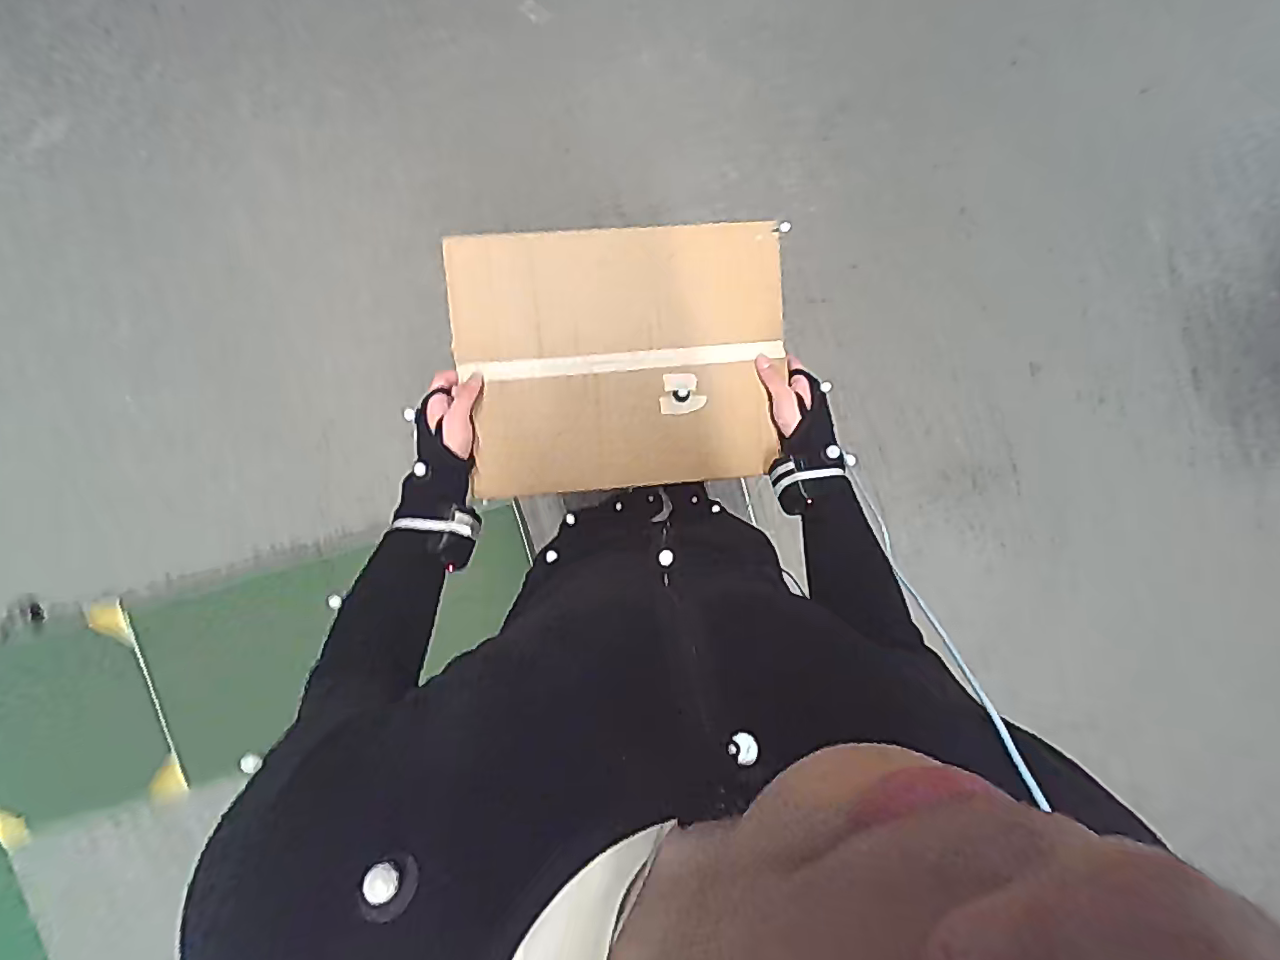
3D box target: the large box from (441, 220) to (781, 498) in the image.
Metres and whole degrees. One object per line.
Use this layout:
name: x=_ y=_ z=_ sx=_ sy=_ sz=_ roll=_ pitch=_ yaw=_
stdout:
large box: x=-0.043 y=-0.166 z=0.823 sx=0.408 sy=0.320 sz=0.320 roll=-6 pitch=97 yaw=-5
